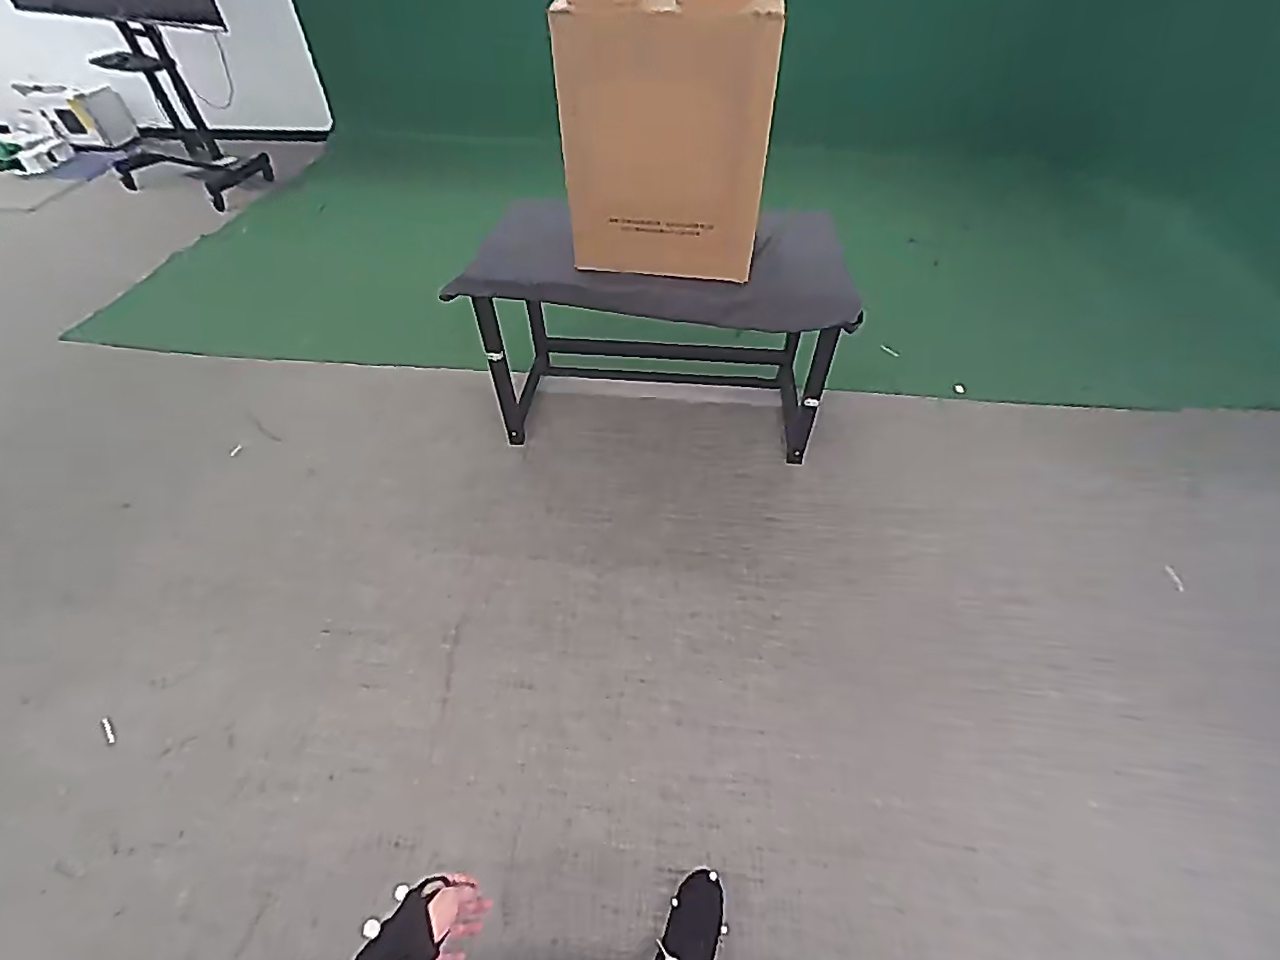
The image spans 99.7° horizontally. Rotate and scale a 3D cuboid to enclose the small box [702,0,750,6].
[{"bbox_3d":[0.176,-1.175,1.193,0.168,0.176,0.179,5,50,1],"label":"small box"}]
